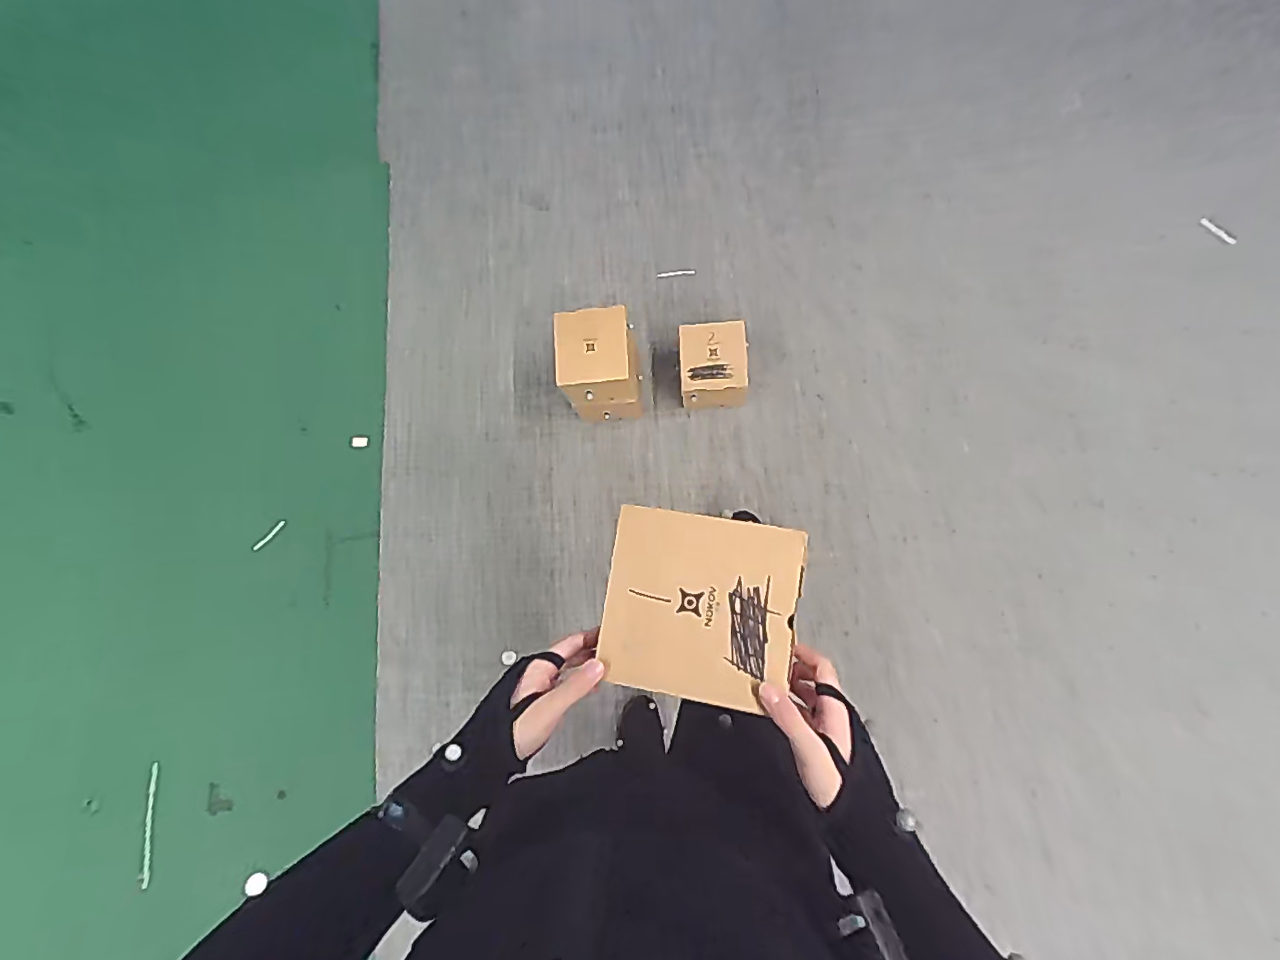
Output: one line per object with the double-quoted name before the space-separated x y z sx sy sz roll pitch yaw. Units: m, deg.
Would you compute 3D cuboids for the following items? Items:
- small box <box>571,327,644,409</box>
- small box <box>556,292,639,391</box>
"small box" -0.079 -0.288 1.415 0.168 0.176 0.179 0 82 6
"small box" -0.094 -0.311 1.255 0.168 0.176 0.179 -3 81 6
